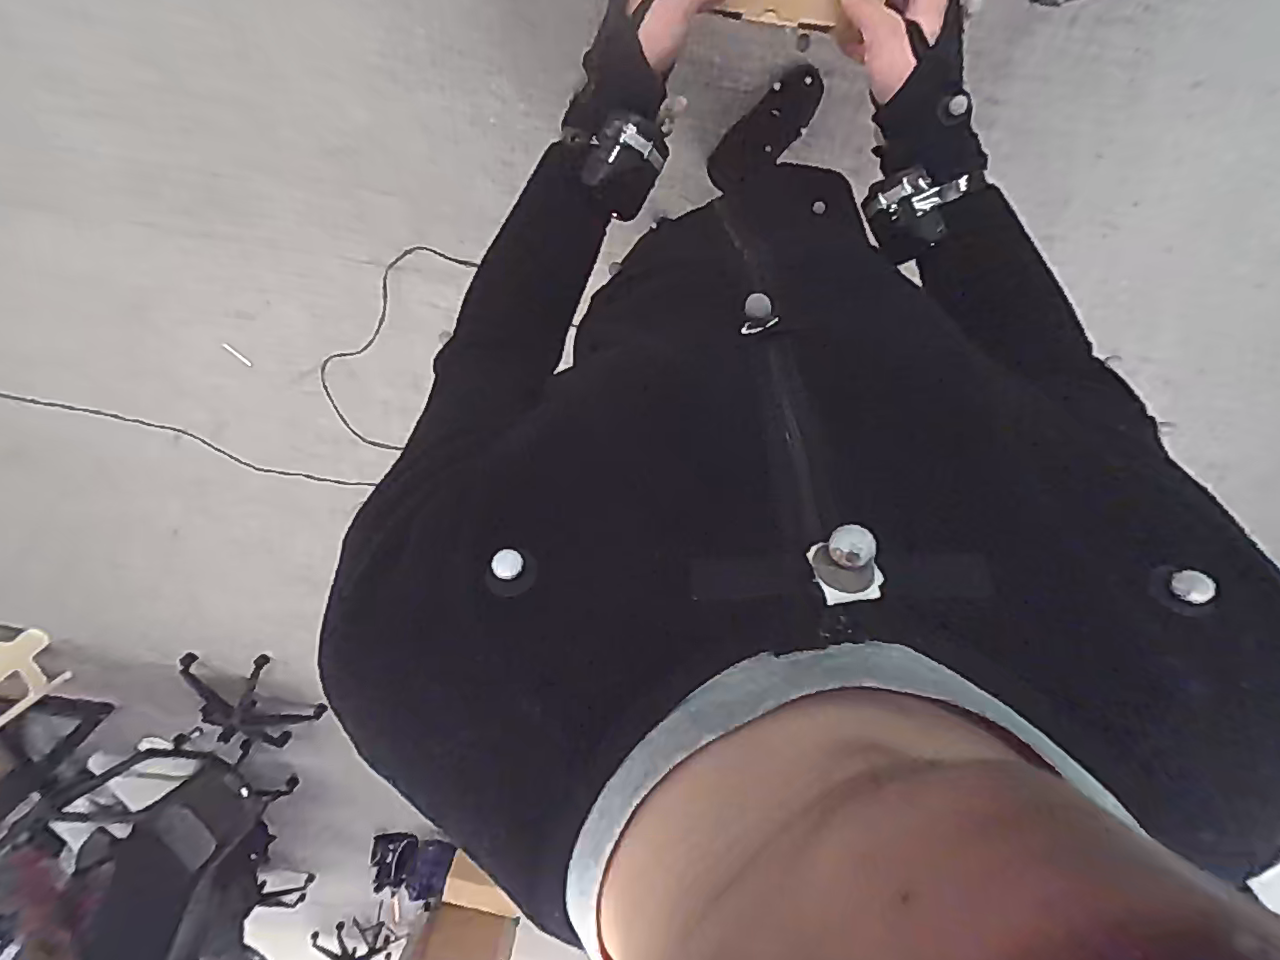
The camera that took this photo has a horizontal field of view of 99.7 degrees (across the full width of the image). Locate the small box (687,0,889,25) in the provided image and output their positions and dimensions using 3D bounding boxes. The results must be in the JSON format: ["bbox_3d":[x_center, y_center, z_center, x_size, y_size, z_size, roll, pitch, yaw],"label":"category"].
[{"bbox_3d":[0.121,-0.467,0.408,0.168,0.176,0.179,10,129,2],"label":"small box"}]

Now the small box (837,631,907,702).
[{"bbox_3d":[0.836,0.674,1.968,0.168,0.176,0.179,8,122,0],"label":"small box"}]
